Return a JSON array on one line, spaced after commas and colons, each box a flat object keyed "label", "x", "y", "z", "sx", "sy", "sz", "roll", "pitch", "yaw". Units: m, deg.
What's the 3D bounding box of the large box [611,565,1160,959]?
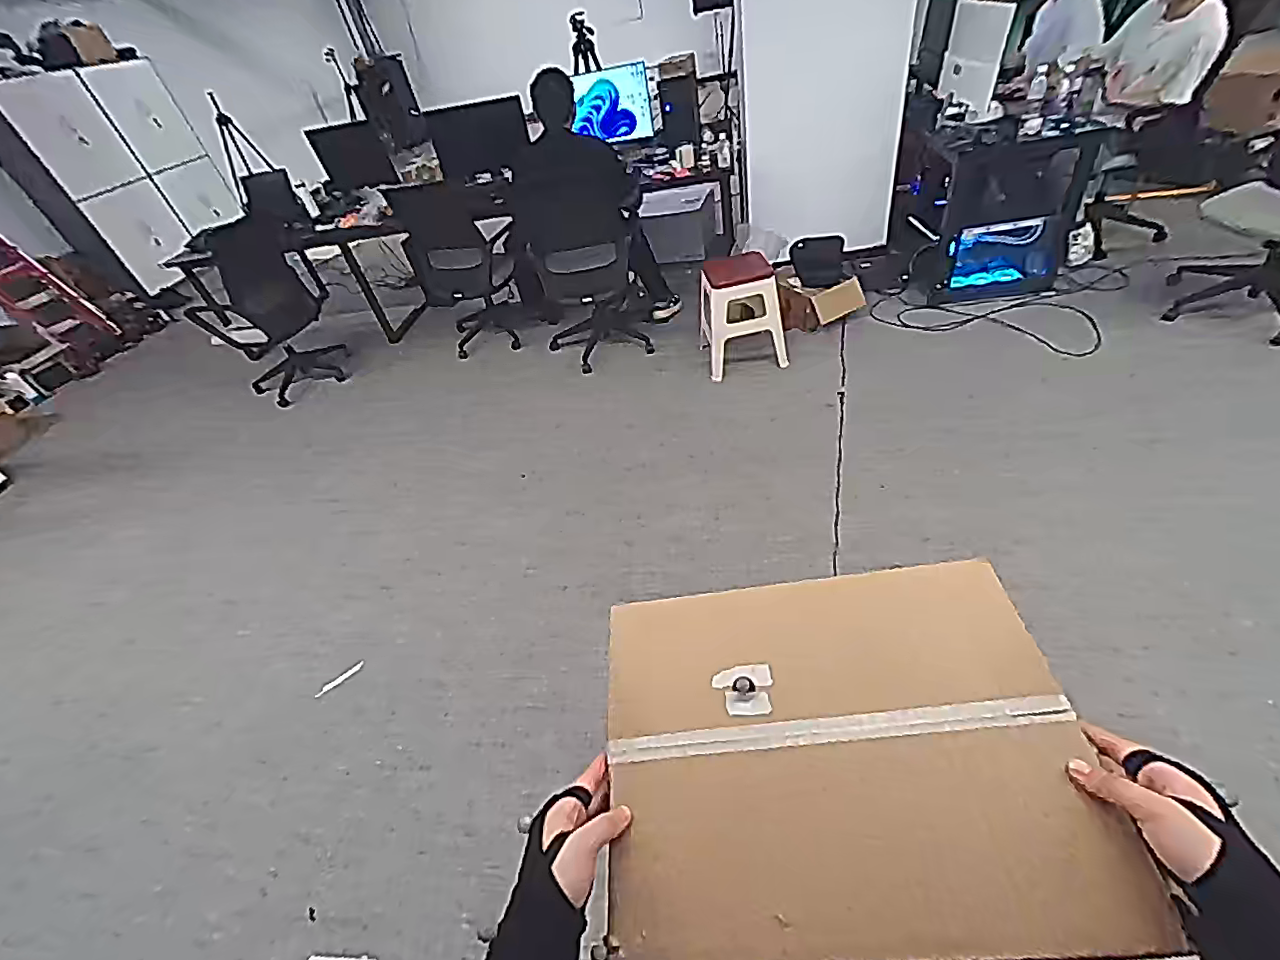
[{"label": "large box", "x": 0.201, "y": 0.335, "z": 0.610, "sx": 0.408, "sy": 0.320, "sz": 0.320, "roll": -10, "pitch": 46, "yaw": 8}]
